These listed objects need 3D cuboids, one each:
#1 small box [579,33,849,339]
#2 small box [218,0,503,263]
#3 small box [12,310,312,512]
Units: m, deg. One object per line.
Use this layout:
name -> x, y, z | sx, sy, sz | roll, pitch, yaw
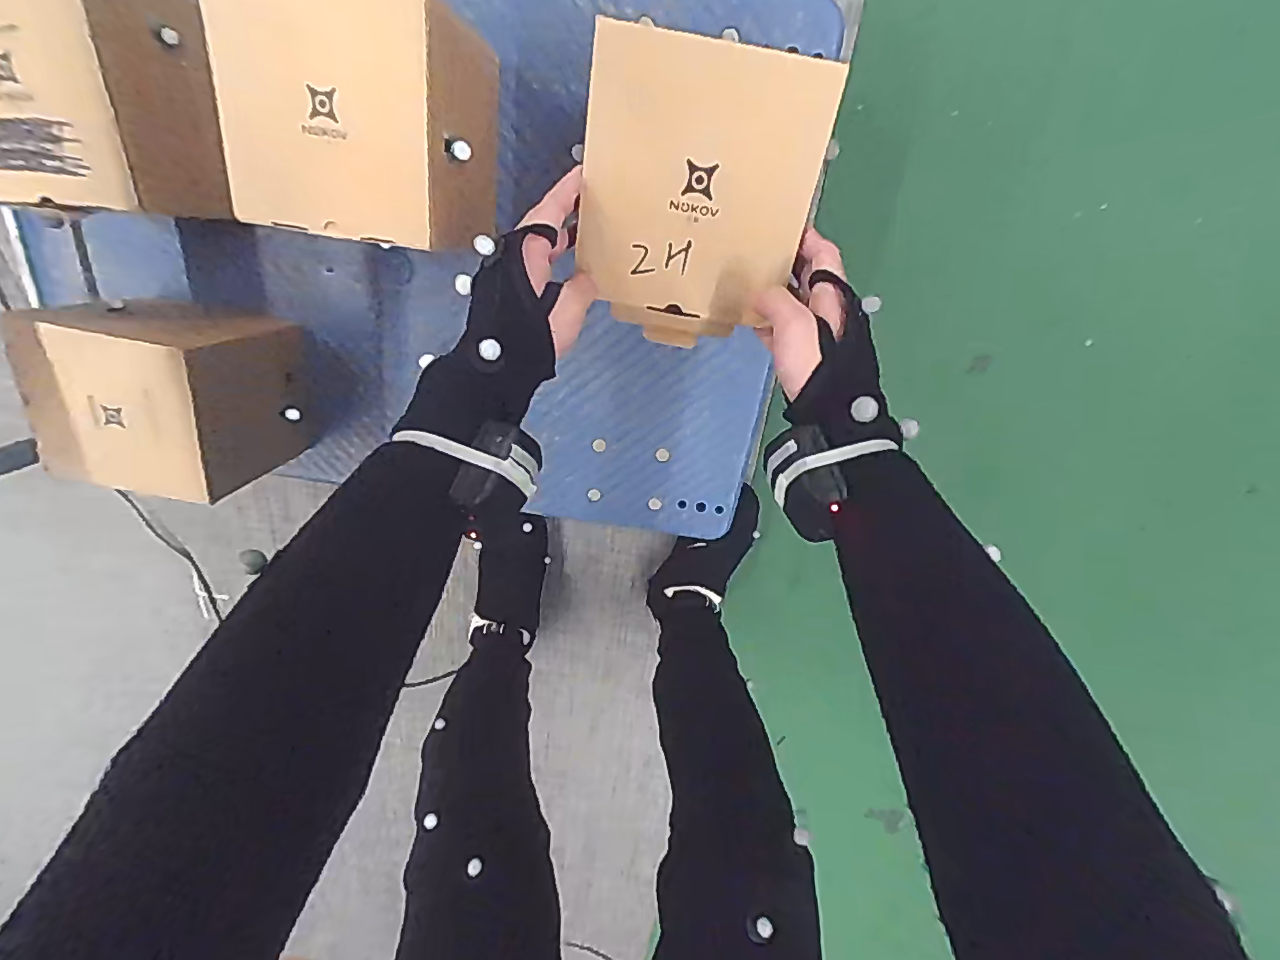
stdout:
small box -> 0.049, -0.242, 0.462 | 0.168, 0.176, 0.179 | 10, 121, -1
small box -> -0.229, -0.305, 0.491 | 0.168, 0.176, 0.179 | 9, 115, 0
small box -> -0.503, -0.087, 0.601 | 0.179, 0.176, 0.168 | 11, 114, -1
